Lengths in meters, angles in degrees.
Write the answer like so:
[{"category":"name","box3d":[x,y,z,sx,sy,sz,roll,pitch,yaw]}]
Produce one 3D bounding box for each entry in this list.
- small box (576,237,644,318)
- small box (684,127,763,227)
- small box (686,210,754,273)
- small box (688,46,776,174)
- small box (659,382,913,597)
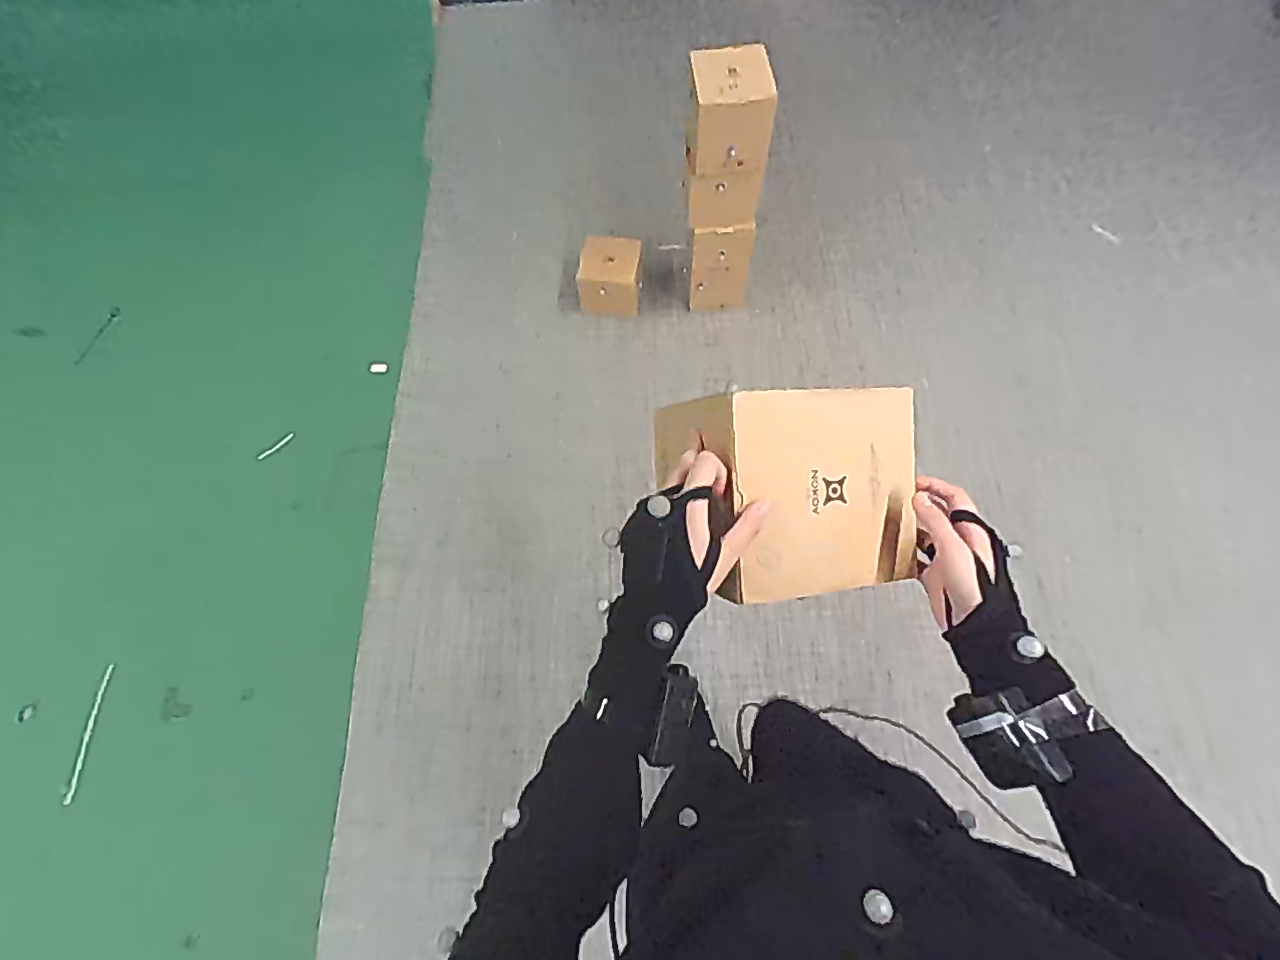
[{"category":"small box","box3d":[-0.086,-0.625,1.684,0.179,0.176,0.168,8,70,7]},{"category":"small box","box3d":[0.204,-0.769,1.373,0.179,0.176,0.168,-4,68,1]},{"category":"small box","box3d":[0.220,-0.704,1.524,0.168,0.176,0.179,-4,69,0]},{"category":"small box","box3d":[0.199,-0.828,1.219,0.168,0.176,0.179,-5,69,1]},{"category":"small box","box3d":[0.122,0.002,0.505,0.179,0.176,0.168,-2,94,-18]}]
